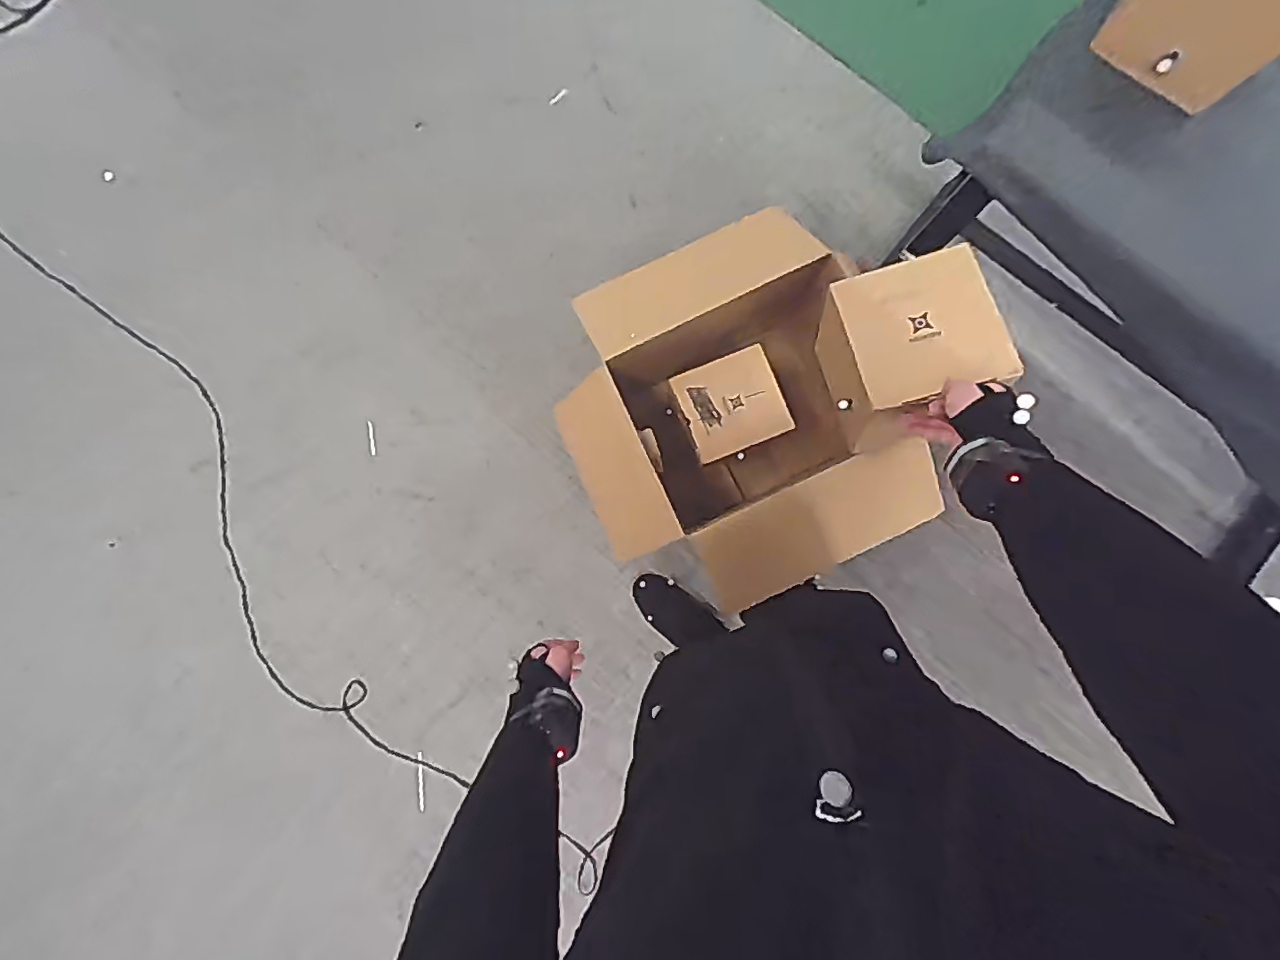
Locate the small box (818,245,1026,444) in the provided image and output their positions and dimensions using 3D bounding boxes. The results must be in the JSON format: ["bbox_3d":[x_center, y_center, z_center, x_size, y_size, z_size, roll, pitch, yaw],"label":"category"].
[{"bbox_3d":[0.342,-0.157,0.696,0.168,0.176,0.179,-14,73,7],"label":"small box"}]

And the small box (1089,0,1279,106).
[{"bbox_3d":[0.736,-0.620,0.676,0.179,0.176,0.168,35,85,3],"label":"small box"}]
